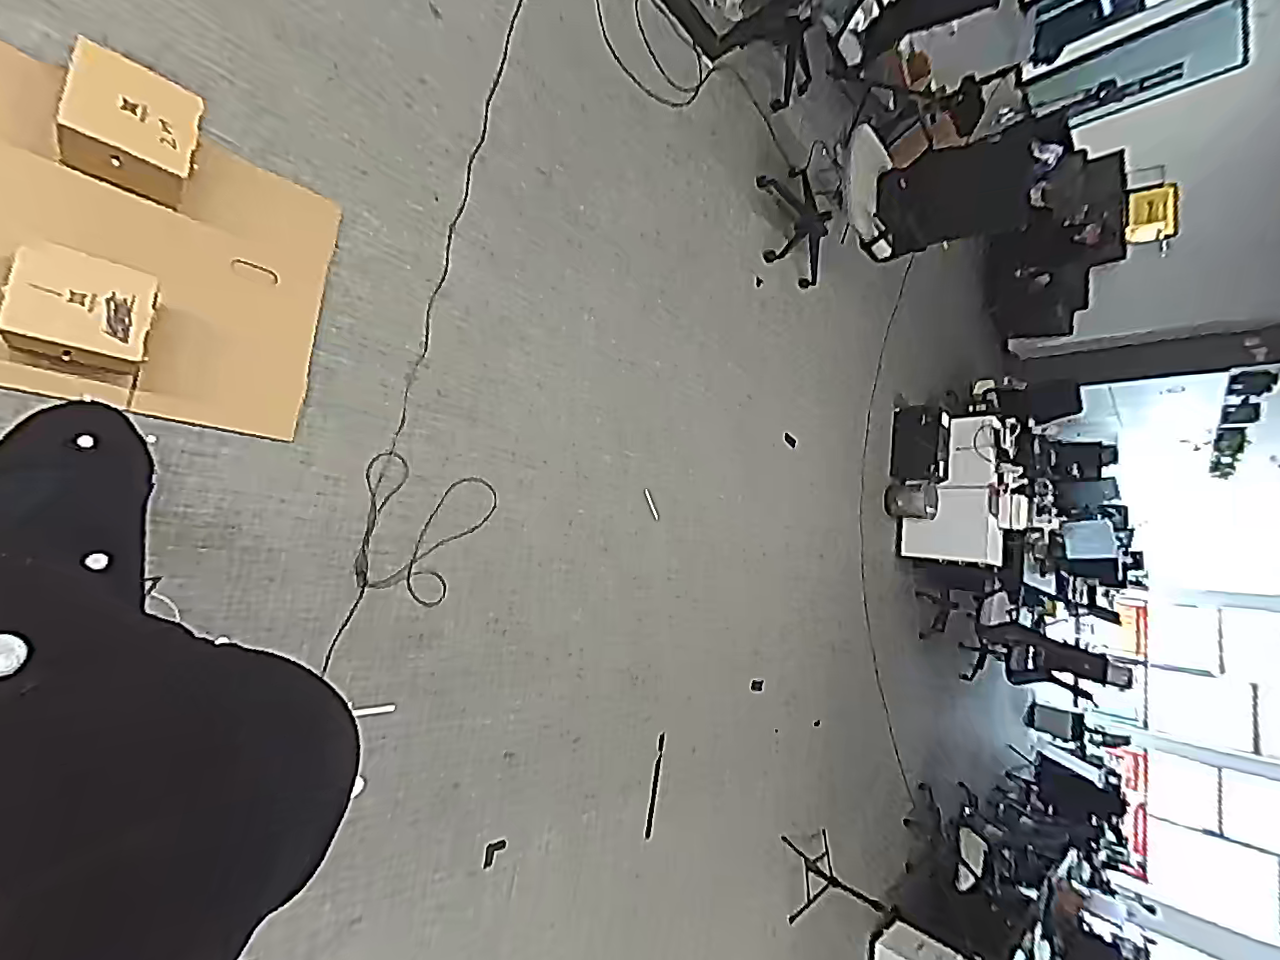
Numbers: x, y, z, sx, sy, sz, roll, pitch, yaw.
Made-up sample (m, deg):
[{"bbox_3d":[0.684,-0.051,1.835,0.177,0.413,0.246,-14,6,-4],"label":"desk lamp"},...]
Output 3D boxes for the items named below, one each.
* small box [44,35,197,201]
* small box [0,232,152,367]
[{"bbox_3d":[-0.983,-0.669,1.027,0.179,0.176,0.168,14,80,-46],"label":"small box"},{"bbox_3d":[-1.027,-0.312,0.983,0.179,0.176,0.168,14,80,-45],"label":"small box"}]
